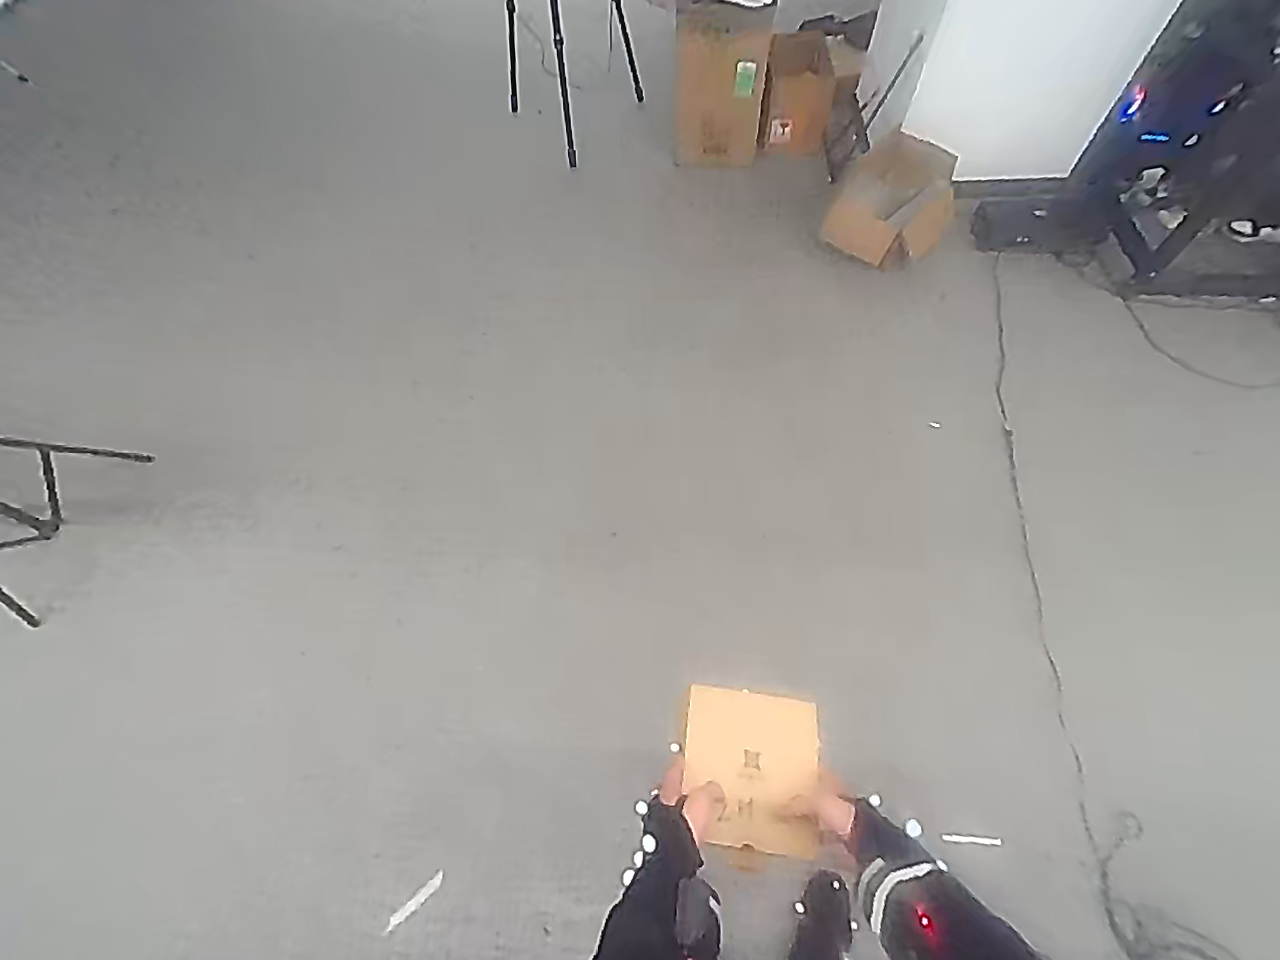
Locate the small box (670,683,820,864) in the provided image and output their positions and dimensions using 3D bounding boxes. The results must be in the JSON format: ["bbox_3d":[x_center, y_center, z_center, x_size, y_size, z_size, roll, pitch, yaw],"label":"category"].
[{"bbox_3d":[0.135,0.388,0.730,0.168,0.176,0.179,8,63,2],"label":"small box"}]
